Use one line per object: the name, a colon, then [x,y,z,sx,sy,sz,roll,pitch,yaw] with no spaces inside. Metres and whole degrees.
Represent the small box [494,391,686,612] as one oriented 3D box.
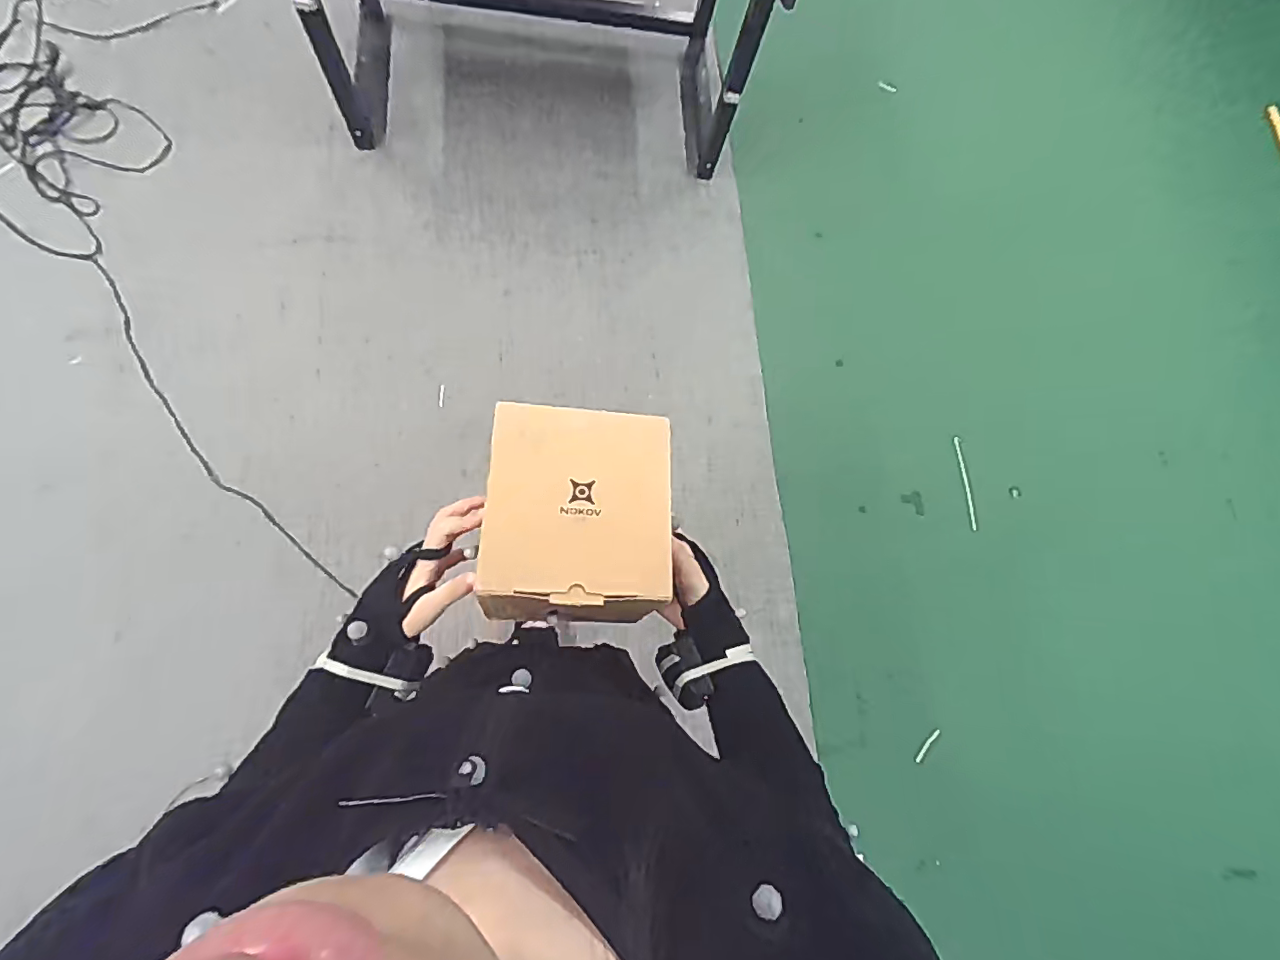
small box: [-0.057,0.033,0.555,0.168,0.176,0.179,4,69,-11]
